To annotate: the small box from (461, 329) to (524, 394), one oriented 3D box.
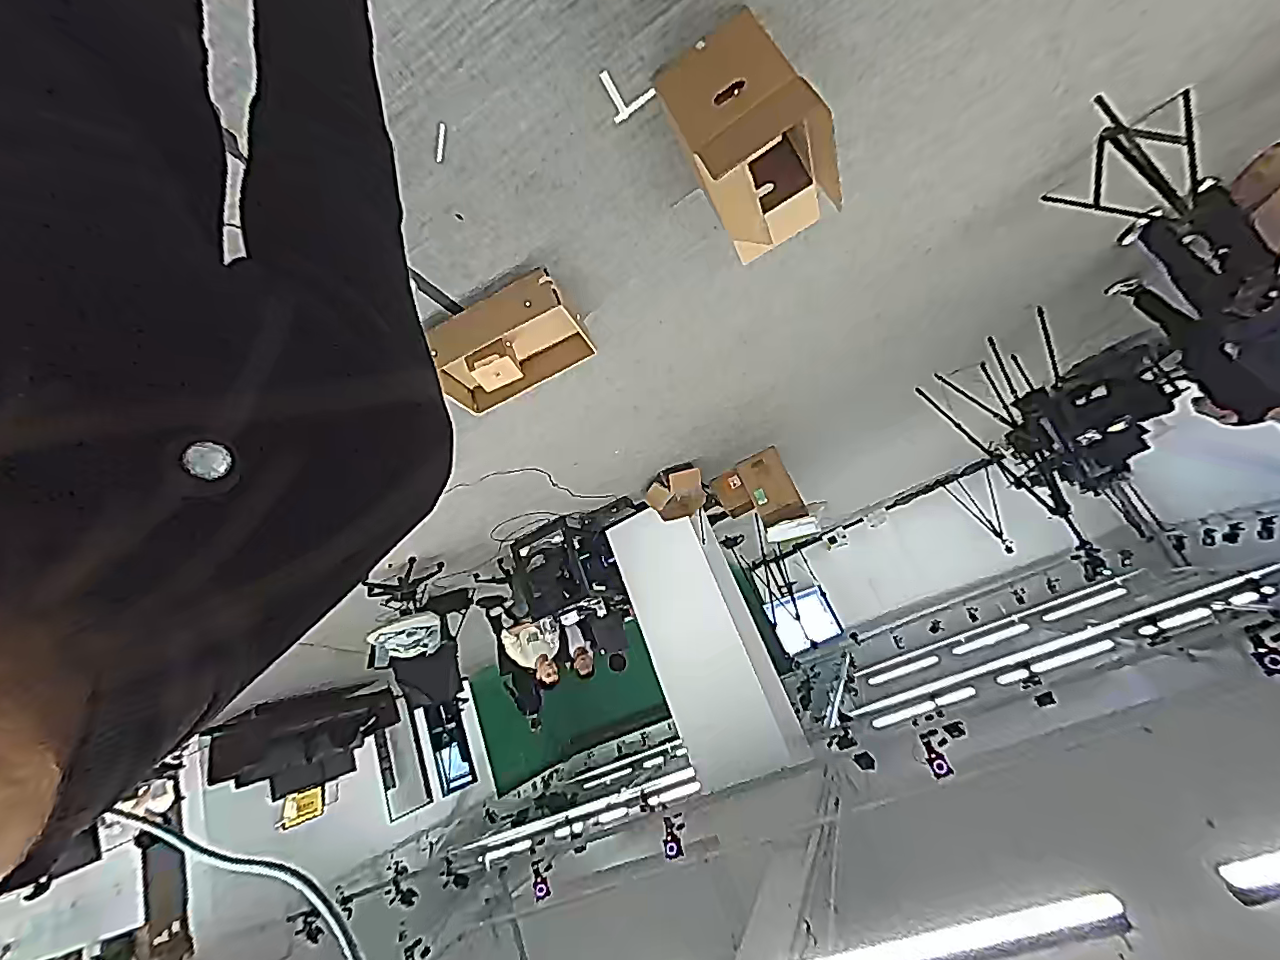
[{"bbox_3d":[-0.589,-0.479,2.158,0.168,0.176,0.179,-24,161,2],"label":"small box"}]
